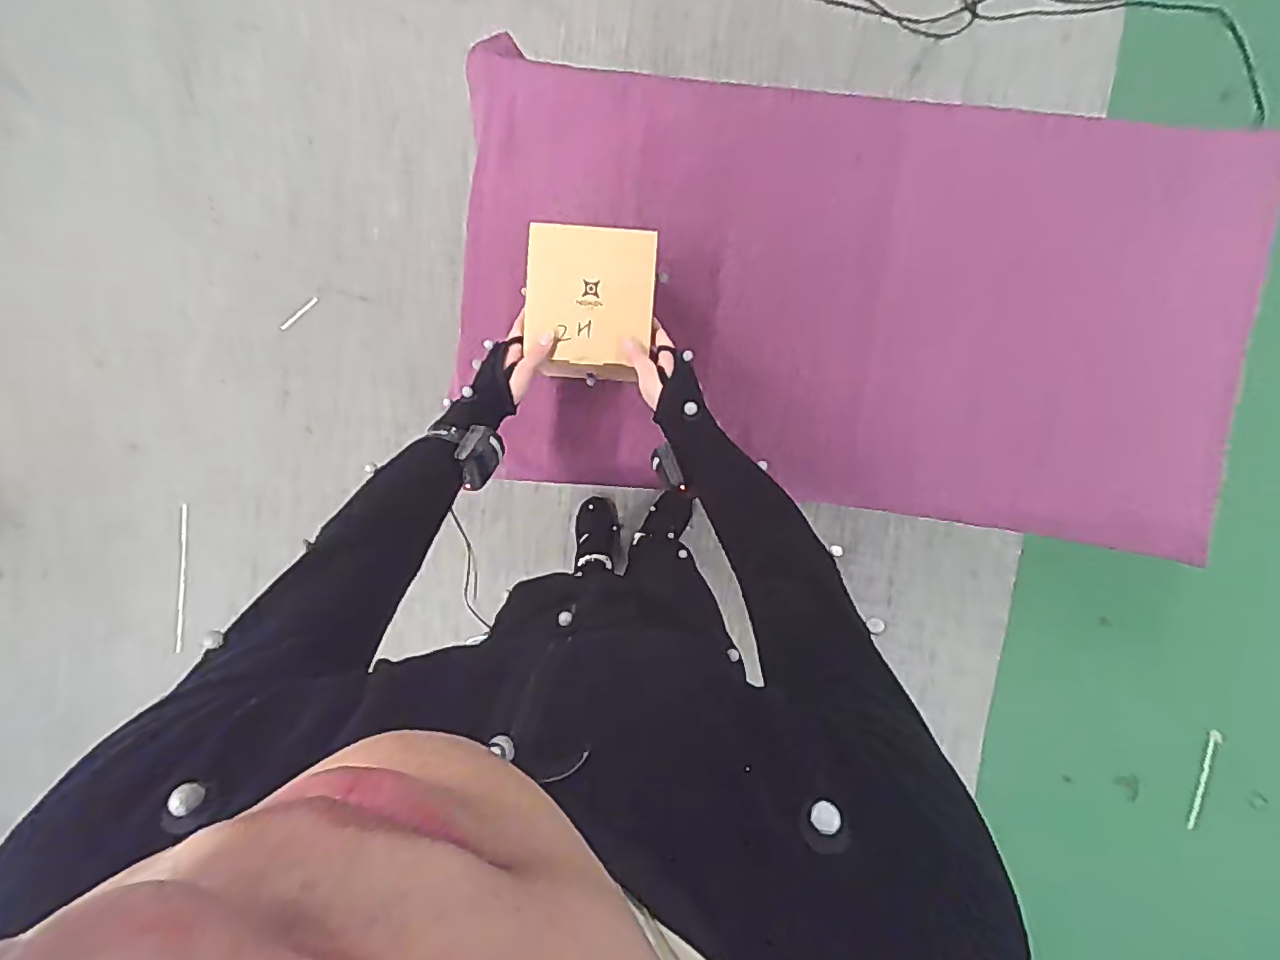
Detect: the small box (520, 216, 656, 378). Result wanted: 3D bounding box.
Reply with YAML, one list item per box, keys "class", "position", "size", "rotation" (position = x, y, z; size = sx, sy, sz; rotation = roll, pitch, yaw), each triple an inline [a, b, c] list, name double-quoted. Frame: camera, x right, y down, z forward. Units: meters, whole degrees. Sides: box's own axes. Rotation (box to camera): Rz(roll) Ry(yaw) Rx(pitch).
- class: "small box"
  position: [-0.069, -0.248, 0.772]
  size: [0.168, 0.176, 0.179]
  rotation: [4, 95, -1]
